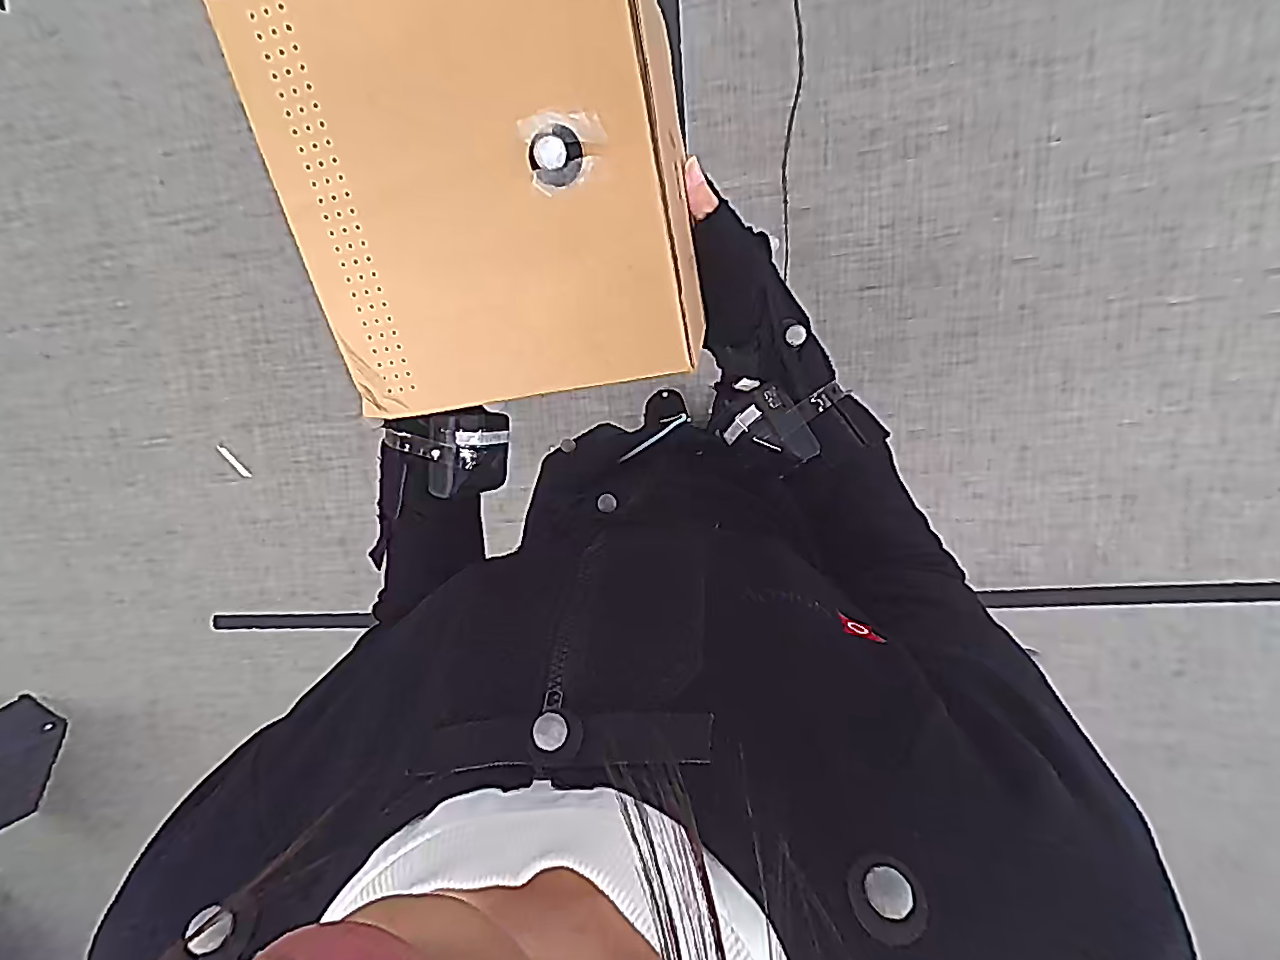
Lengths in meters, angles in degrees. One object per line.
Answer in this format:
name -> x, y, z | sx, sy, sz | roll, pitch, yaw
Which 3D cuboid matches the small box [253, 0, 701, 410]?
small box -> -0.063, -0.152, 0.307 | 0.176, 0.168, 0.179 | -7, 111, 12
